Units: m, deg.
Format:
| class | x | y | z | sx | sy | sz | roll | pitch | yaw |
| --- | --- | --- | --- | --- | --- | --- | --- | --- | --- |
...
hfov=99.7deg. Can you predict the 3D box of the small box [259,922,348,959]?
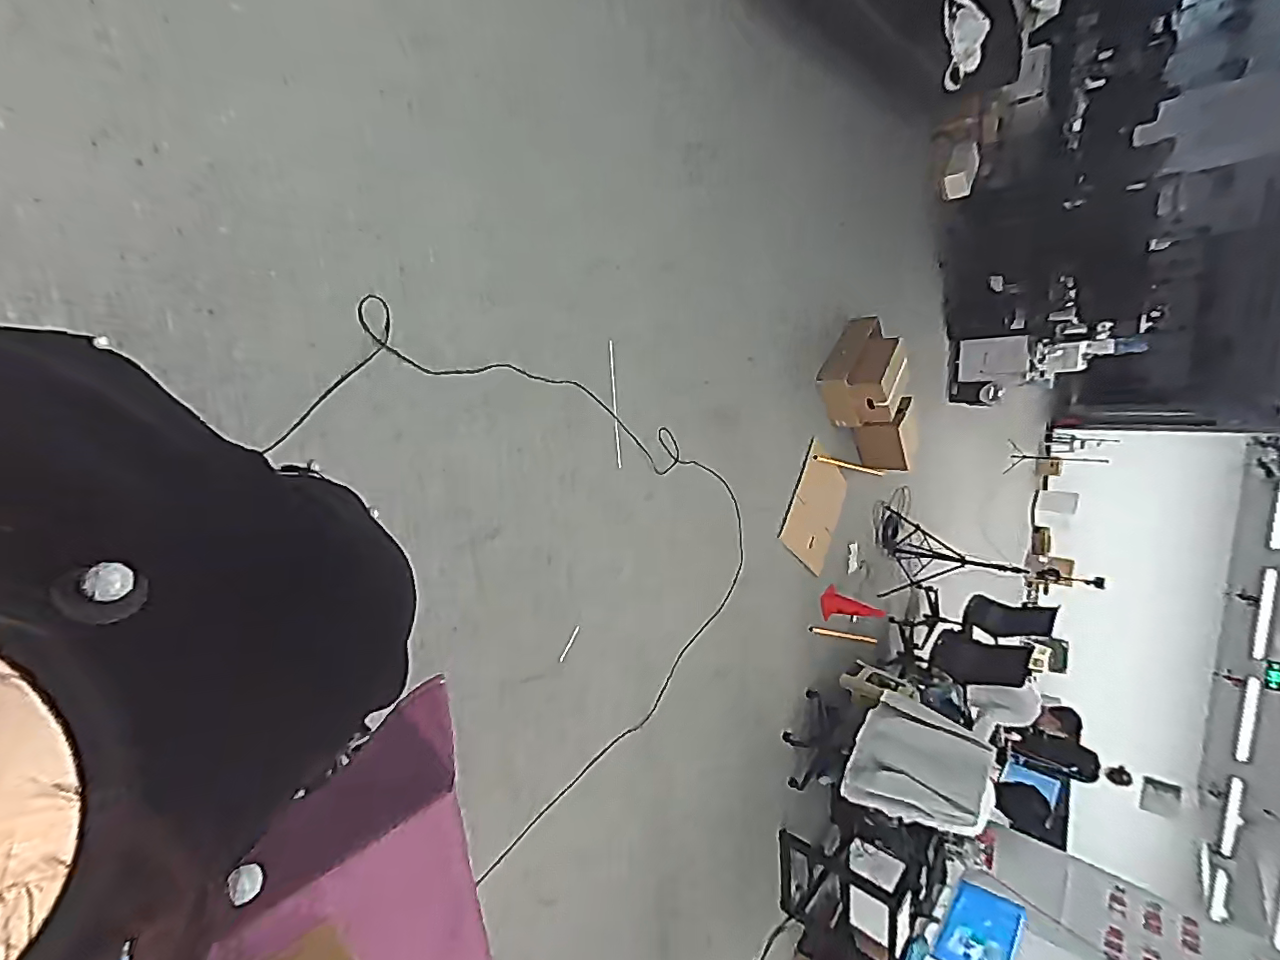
| class | x | y | z | sx | sy | sz | roll | pitch | yaw |
| --- | --- | --- | --- | --- | --- | --- | --- | --- | --- |
| small box | -0.444 | 0.731 | 0.684 | 0.168 | 0.176 | 0.179 | -14 | 106 | -45 |
